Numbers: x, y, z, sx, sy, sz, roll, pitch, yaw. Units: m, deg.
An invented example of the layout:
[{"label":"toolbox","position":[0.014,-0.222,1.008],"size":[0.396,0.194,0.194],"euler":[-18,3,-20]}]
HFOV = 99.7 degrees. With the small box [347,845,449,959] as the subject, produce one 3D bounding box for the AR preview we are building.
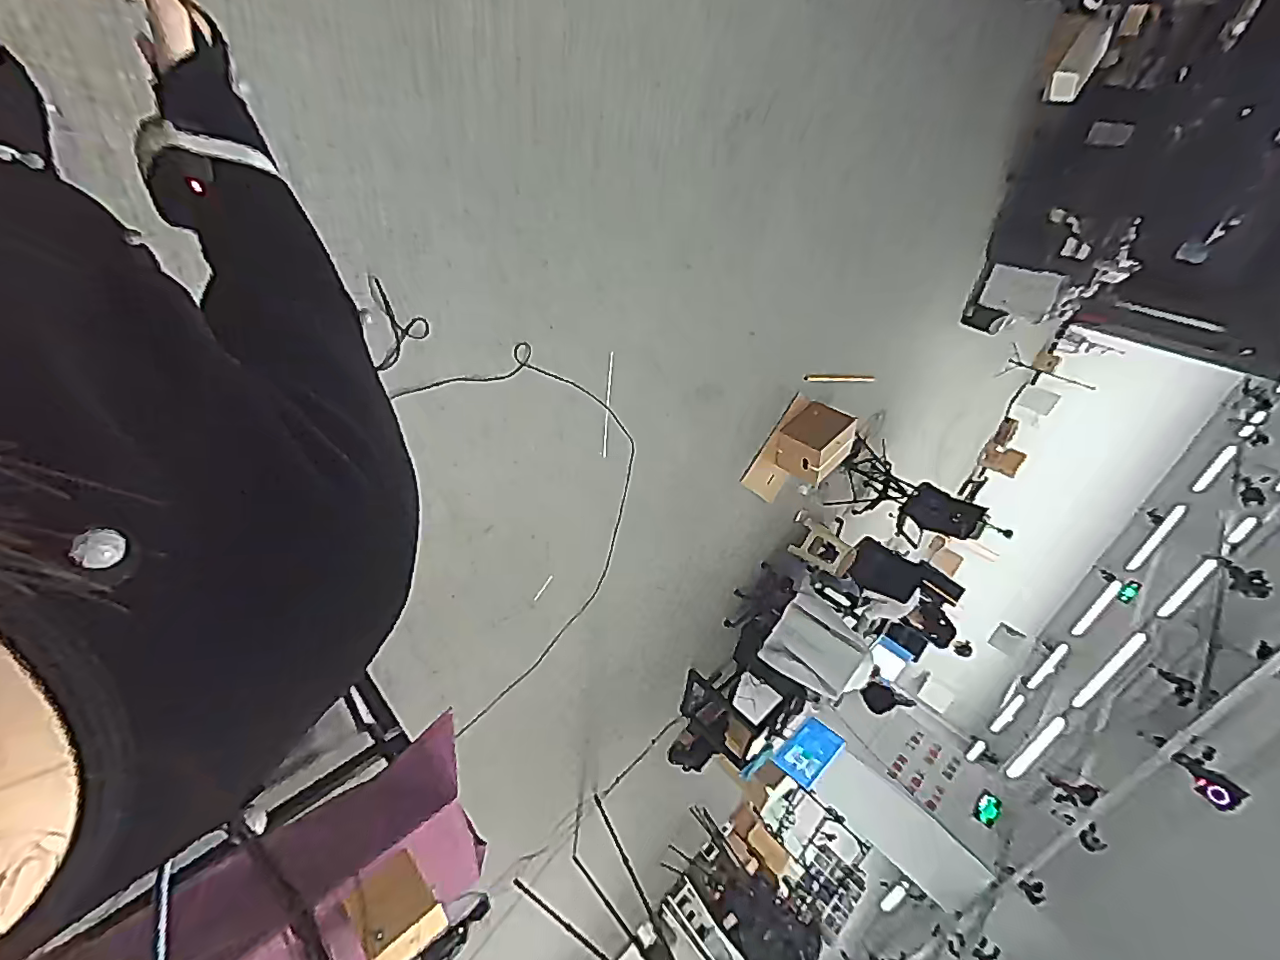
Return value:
[{"label":"small box","position":[-0.617,1.092,1.387],"size":[0.179,0.176,0.168],"euler":[-26,137,-35]}]
